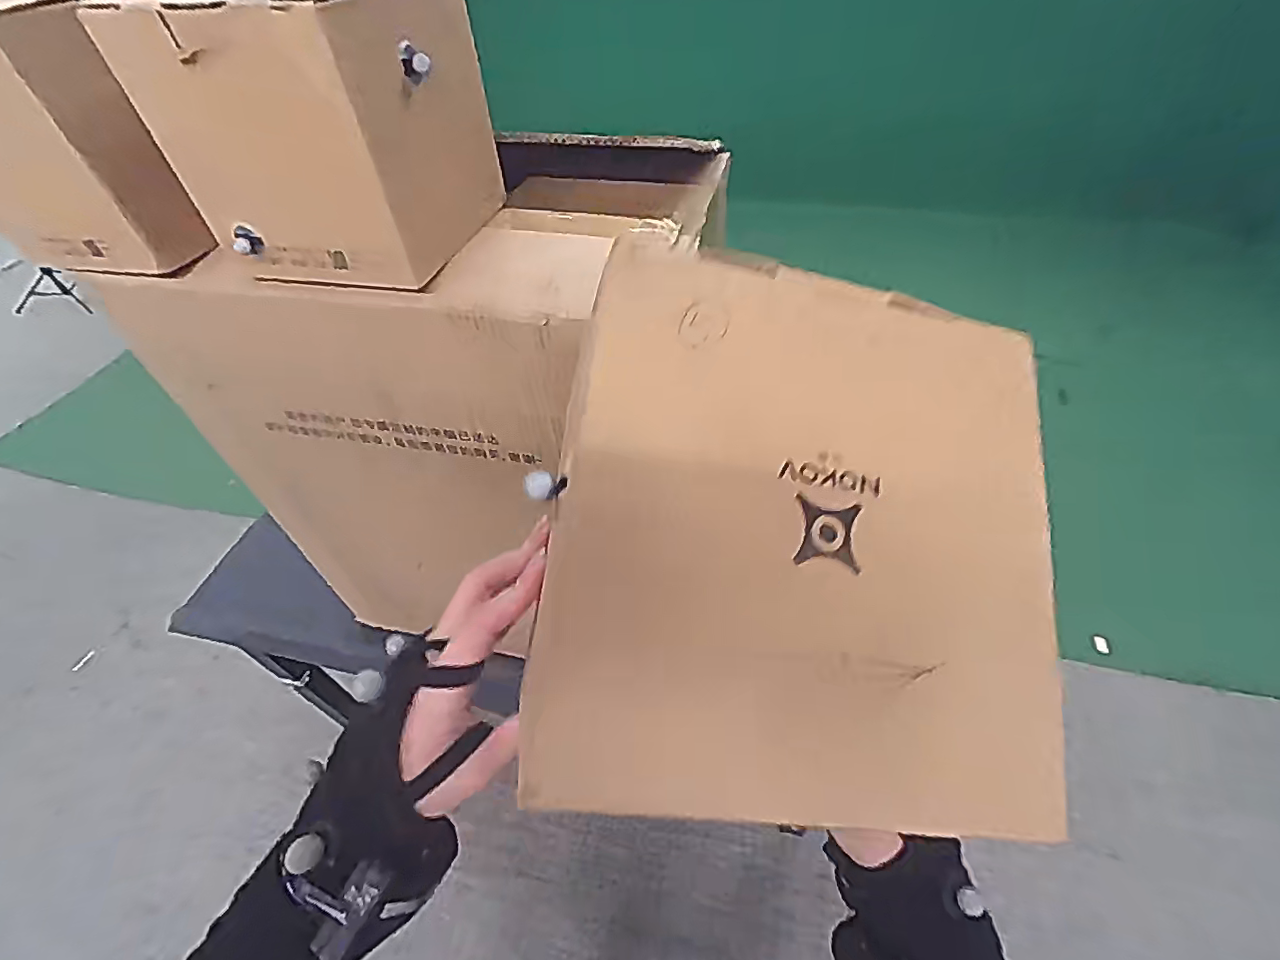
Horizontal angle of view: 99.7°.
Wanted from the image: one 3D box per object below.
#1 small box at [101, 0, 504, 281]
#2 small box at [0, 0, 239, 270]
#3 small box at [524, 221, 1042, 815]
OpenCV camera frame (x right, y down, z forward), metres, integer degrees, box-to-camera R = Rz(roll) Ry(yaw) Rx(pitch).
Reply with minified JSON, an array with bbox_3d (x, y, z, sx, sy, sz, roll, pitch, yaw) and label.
[{"bbox_3d":[-0.223,-0.274,0.422,0.168,0.176,0.179,9,48,10],"label":"small box"},{"bbox_3d":[-0.442,-0.301,0.463,0.168,0.176,0.179,8,48,14],"label":"small box"},{"bbox_3d":[0.042,0.025,0.254,0.168,0.176,0.179,10,77,-9],"label":"small box"}]
